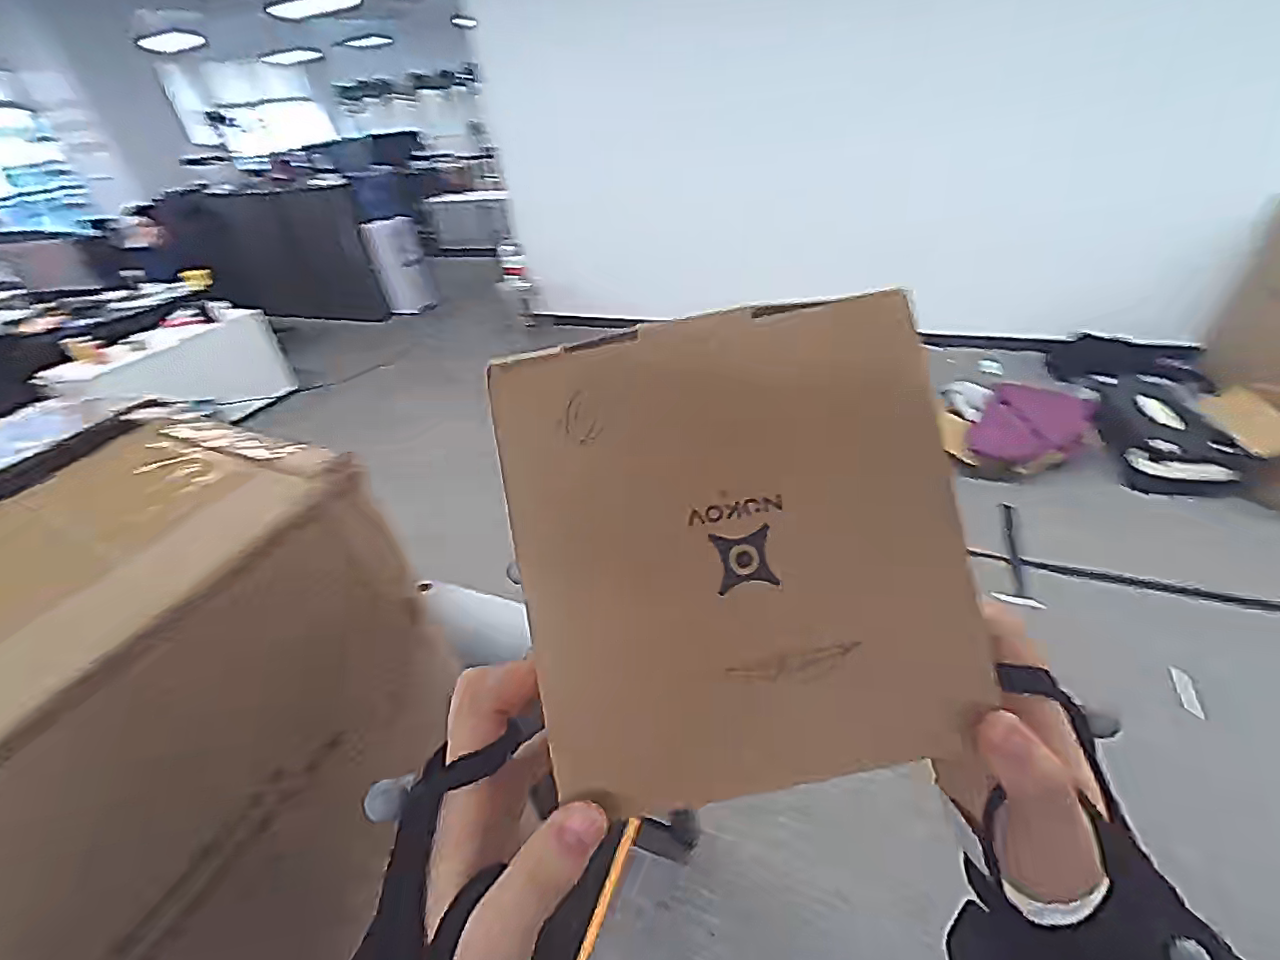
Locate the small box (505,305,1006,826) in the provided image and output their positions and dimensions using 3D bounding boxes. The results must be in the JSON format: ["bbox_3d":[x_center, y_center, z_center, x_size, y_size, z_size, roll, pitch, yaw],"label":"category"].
[{"bbox_3d":[0.041,0.035,0.284,0.168,0.179,0.176,-10,-4,1],"label":"small box"}]
